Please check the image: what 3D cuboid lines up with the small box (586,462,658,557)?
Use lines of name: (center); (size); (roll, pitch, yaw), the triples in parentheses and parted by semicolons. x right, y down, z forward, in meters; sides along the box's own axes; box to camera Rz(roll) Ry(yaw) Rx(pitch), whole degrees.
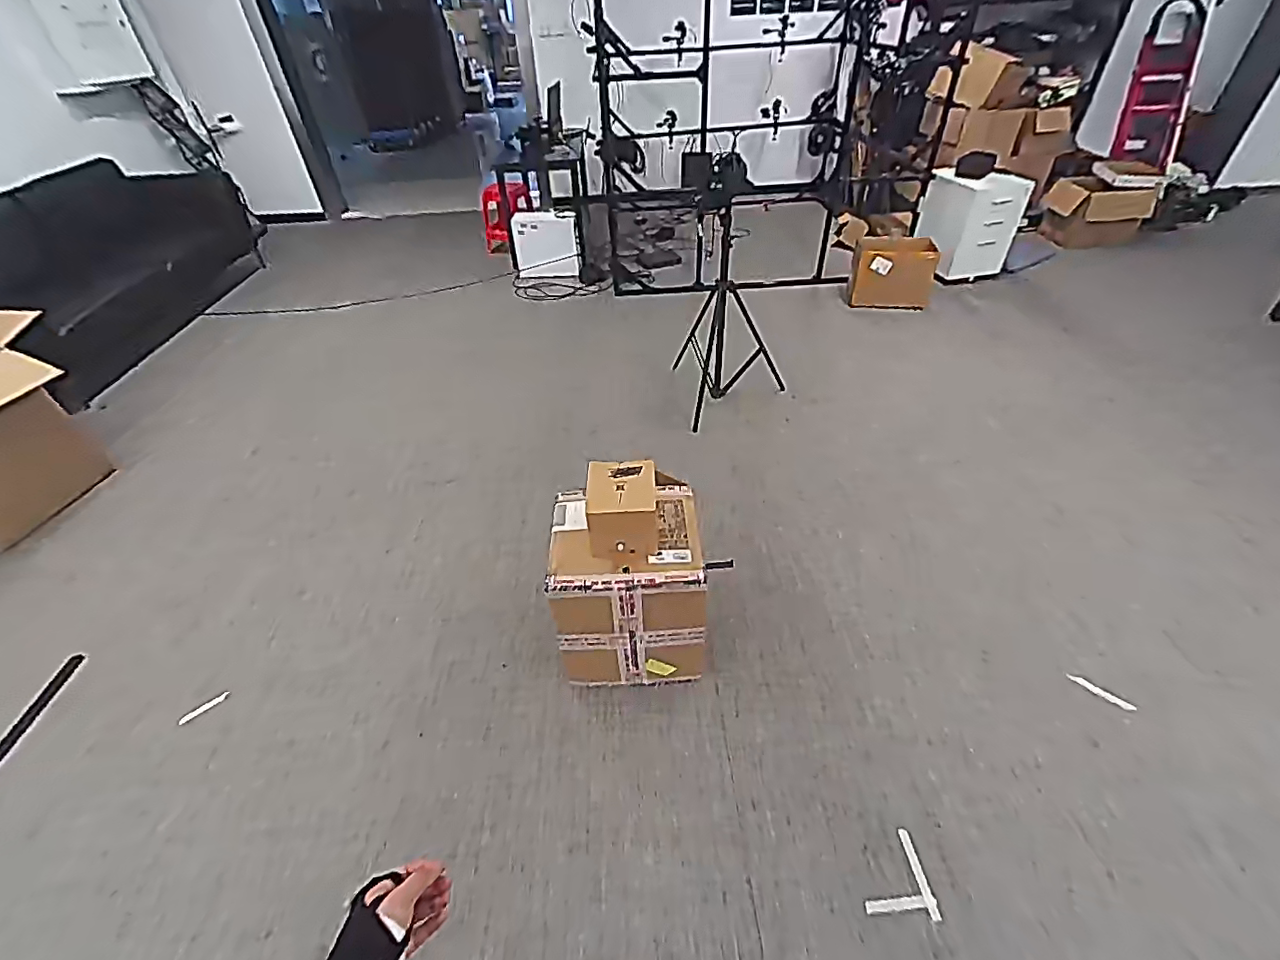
small box: (-0.041, 0.074, 1.357); (0.168, 0.176, 0.179); (-2, 45, 1)
